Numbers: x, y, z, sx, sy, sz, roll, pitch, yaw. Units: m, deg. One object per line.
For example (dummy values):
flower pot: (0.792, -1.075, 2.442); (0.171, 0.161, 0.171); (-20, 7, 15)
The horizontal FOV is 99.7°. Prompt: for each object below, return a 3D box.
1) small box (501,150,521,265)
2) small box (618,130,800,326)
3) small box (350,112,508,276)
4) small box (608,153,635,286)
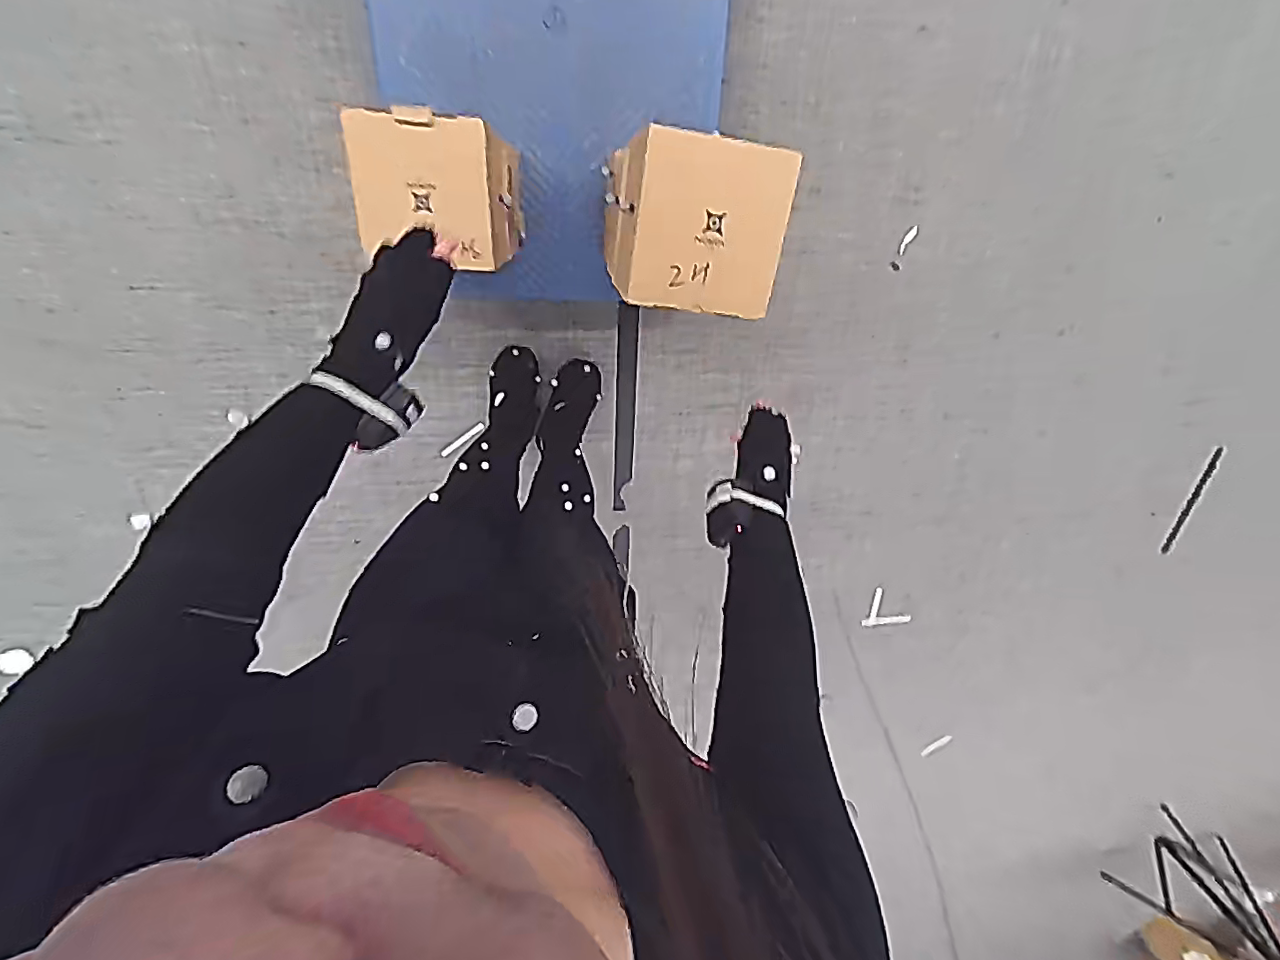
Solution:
small box: (-0.293, -0.464, 0.902); (0.179, 0.176, 0.168); (3, 117, -8)
small box: (0.068, -0.302, 0.661); (0.168, 0.176, 0.179); (5, 116, -10)
small box: (-0.279, -0.390, 0.756); (0.168, 0.176, 0.179); (0, 116, -7)
small box: (0.048, -0.374, 0.808); (0.179, 0.176, 0.168); (3, 117, -10)
